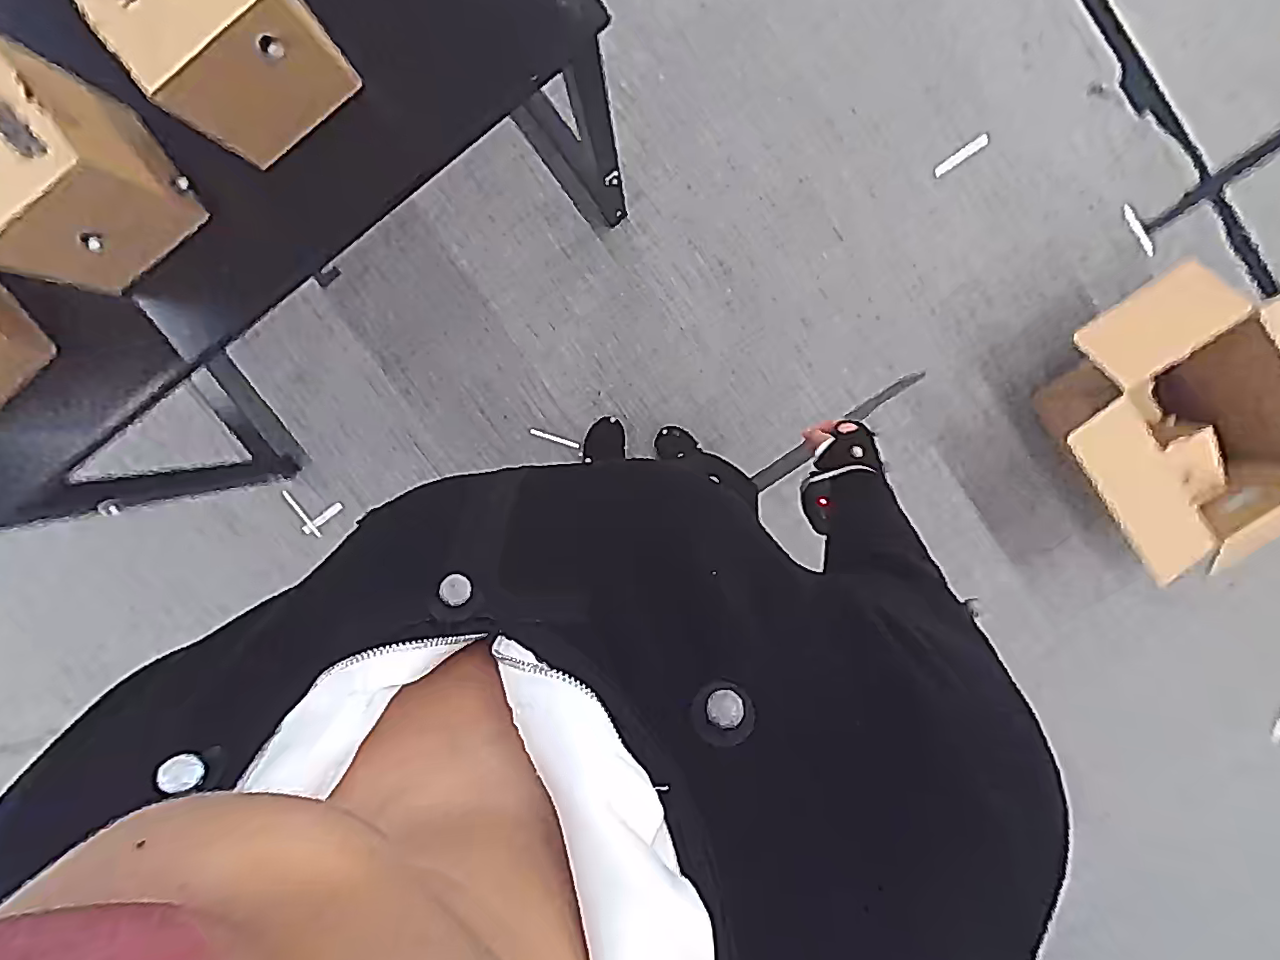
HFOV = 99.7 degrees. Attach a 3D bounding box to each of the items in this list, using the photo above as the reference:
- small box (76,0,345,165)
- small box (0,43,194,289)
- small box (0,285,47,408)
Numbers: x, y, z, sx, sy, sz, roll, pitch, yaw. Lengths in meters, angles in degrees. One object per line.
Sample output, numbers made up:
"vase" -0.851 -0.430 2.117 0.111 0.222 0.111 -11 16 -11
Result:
"small box" -0.482 -0.518 0.627 0.179 0.176 0.168 -37 93 5
"small box" -0.700 -0.362 0.654 0.179 0.176 0.168 -35 94 6
"small box" -0.932 -0.182 0.684 0.179 0.176 0.168 -38 93 6
